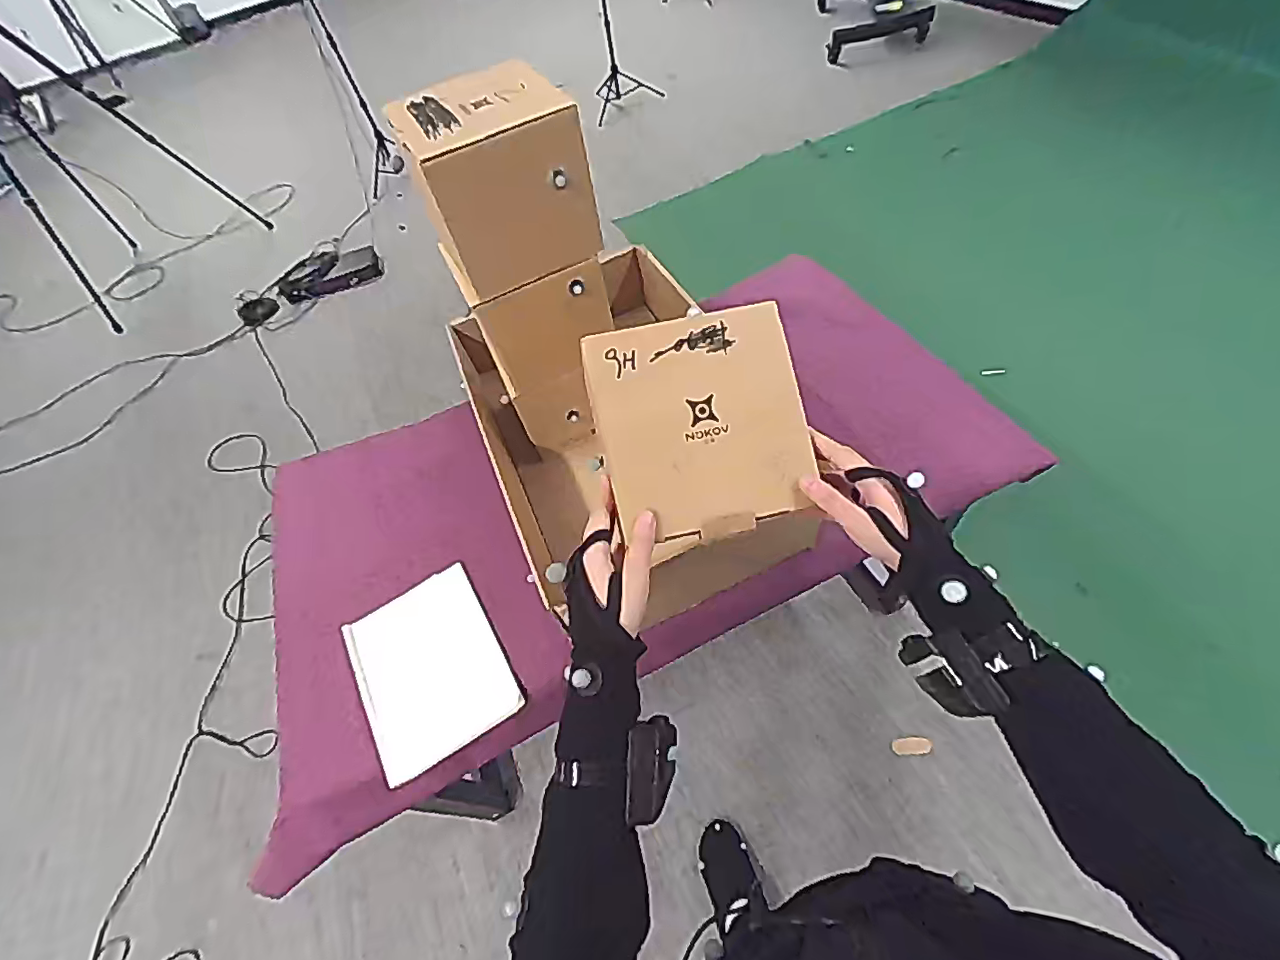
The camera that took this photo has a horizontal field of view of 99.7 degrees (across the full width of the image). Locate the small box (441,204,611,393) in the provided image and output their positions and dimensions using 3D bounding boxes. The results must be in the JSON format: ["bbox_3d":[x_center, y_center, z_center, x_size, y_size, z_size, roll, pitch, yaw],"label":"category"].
[{"bbox_3d":[-0.154,-0.256,0.784,0.179,0.176,0.168,-27,57,-9],"label":"small box"}]

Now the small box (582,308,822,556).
[{"bbox_3d":[0.045,-0.036,0.509,0.168,0.176,0.179,-12,87,-5],"label":"small box"}]

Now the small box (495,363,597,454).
[{"bbox_3d":[-0.137,-0.167,0.918,0.168,0.176,0.179,-25,57,-7],"label":"small box"}]
